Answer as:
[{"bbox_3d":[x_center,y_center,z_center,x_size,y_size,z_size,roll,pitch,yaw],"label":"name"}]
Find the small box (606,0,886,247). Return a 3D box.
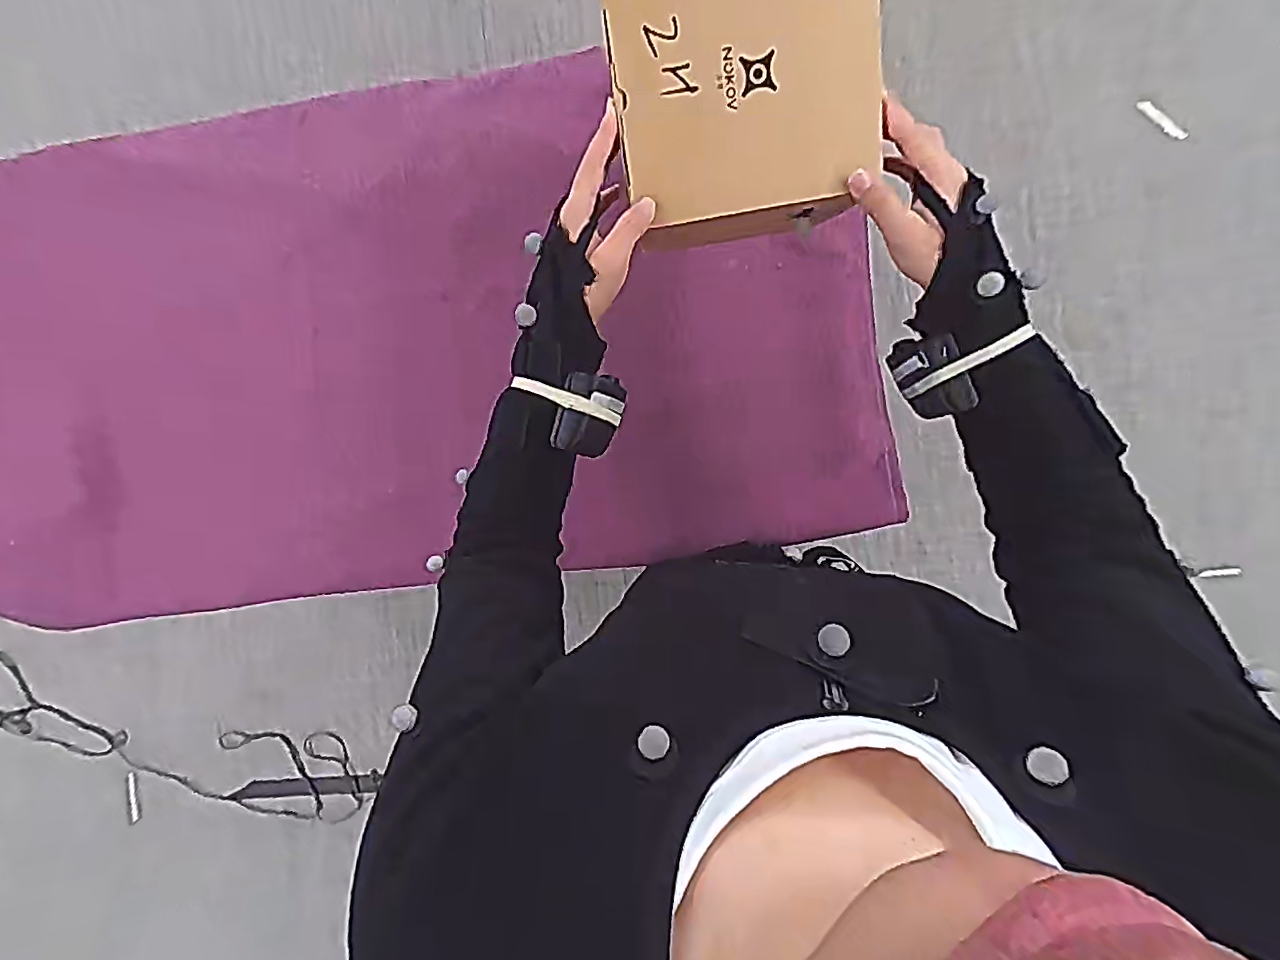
[{"bbox_3d":[0.075,-0.294,0.430,0.179,0.176,0.168,-7,106,6],"label":"small box"}]
